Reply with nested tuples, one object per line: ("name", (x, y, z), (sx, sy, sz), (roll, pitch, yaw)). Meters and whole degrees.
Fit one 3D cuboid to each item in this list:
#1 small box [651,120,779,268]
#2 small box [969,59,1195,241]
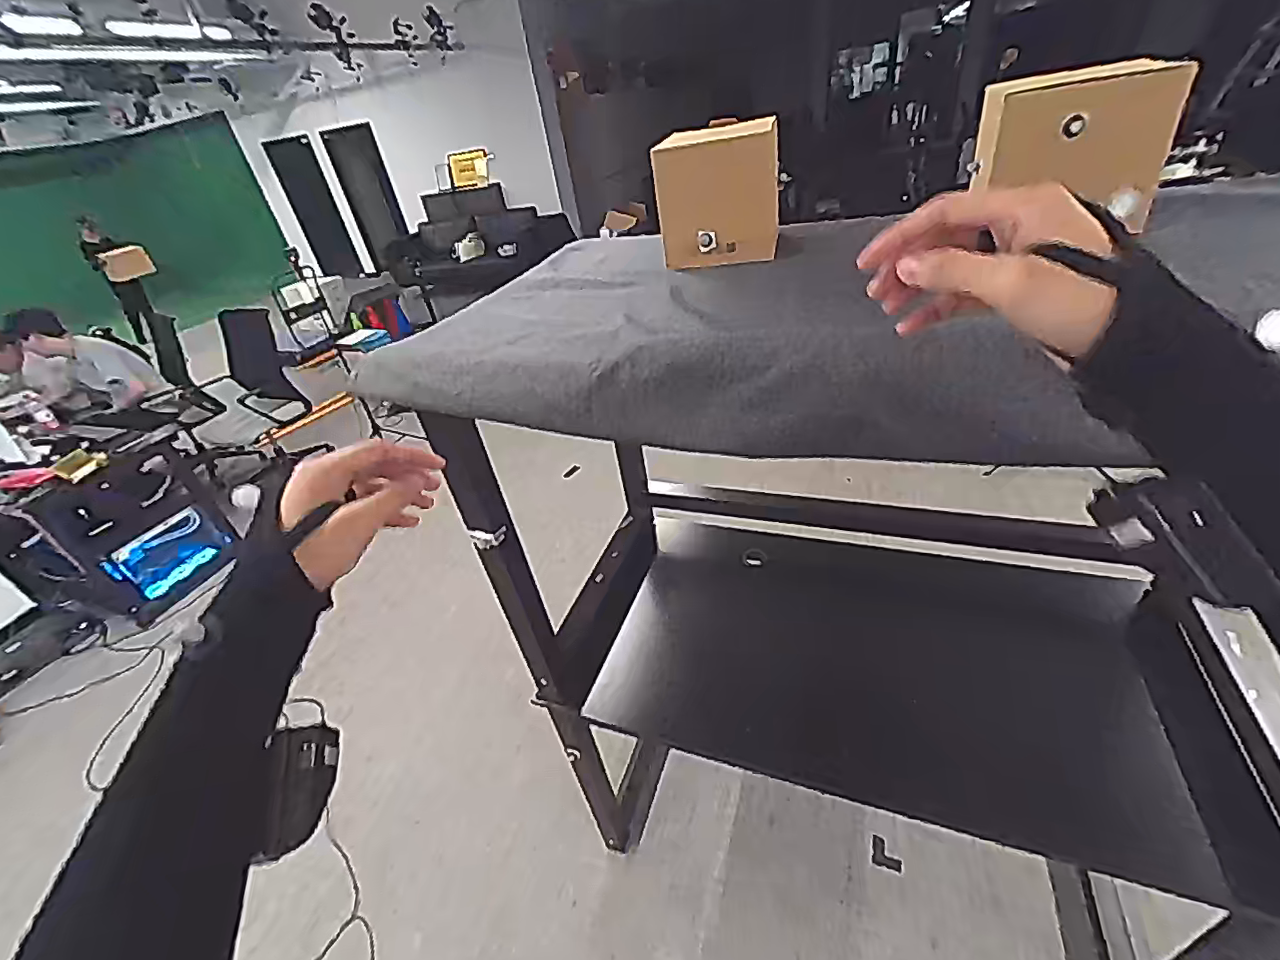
("small box", (0.125, -0.438, 0.834), (0.168, 0.176, 0.179), (0, 36, 17))
("small box", (0.533, -0.414, 0.688), (0.179, 0.176, 0.168), (5, 38, 22))
